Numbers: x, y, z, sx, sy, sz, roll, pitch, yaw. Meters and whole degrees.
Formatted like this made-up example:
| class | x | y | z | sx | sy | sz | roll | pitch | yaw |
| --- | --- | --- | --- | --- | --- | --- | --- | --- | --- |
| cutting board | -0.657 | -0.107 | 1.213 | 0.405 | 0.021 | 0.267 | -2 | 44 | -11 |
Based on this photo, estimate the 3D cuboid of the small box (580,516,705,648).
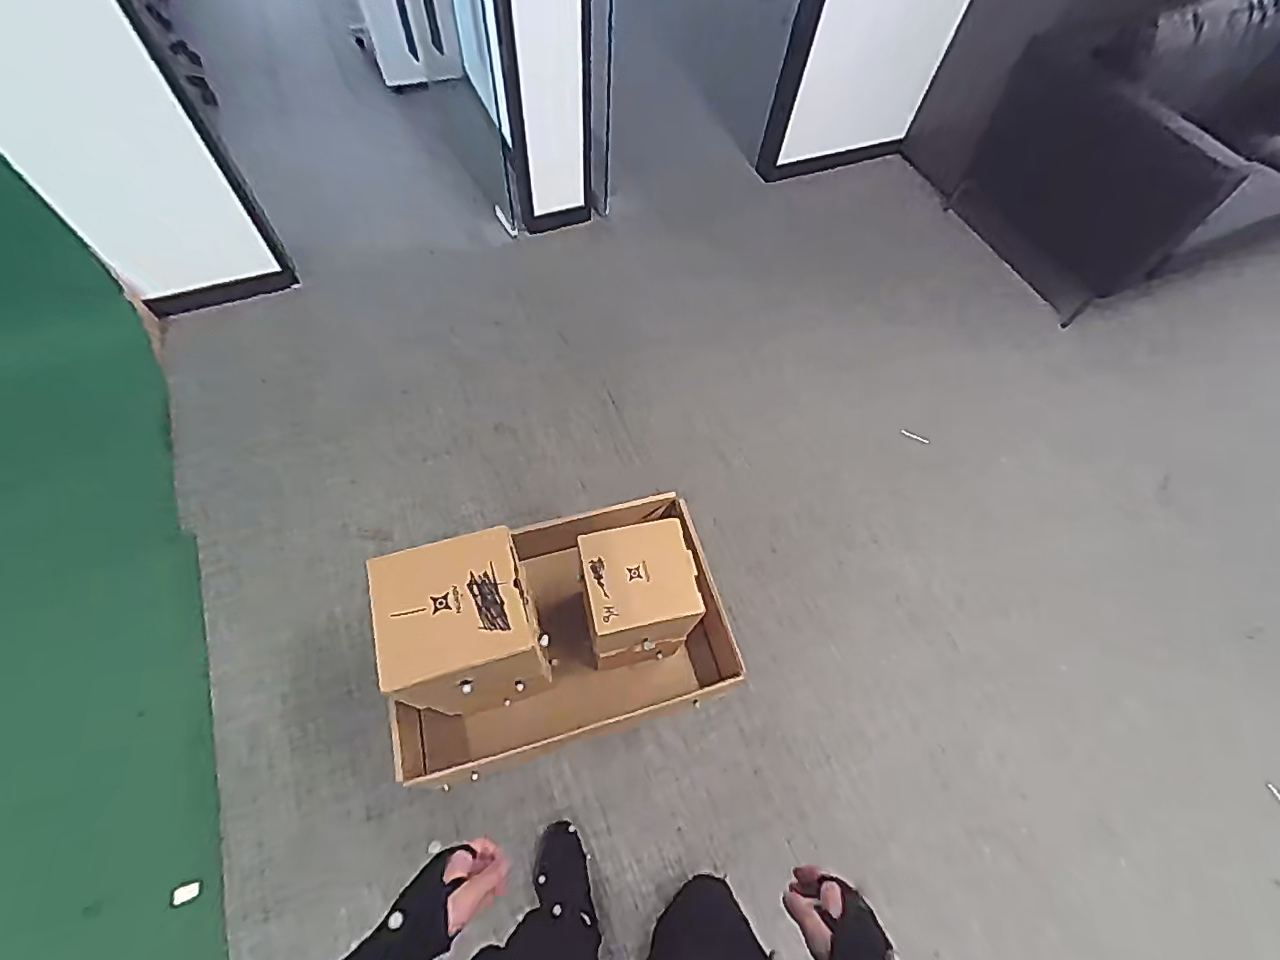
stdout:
| class | x | y | z | sx | sy | sz | roll | pitch | yaw |
| --- | --- | --- | --- | --- | --- | --- | --- | --- | --- |
| small box | -0.005 | 0.181 | 0.937 | 0.179 | 0.176 | 0.168 | -11 | 64 | -9 |

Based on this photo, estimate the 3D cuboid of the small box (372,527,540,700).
| class | x | y | z | sx | sy | sz | roll | pitch | yaw |
| --- | --- | --- | --- | --- | --- | --- | --- | --- | --- |
| small box | -0.239 | 0.186 | 0.736 | 0.179 | 0.176 | 0.168 | -15 | 64 | -11 |
